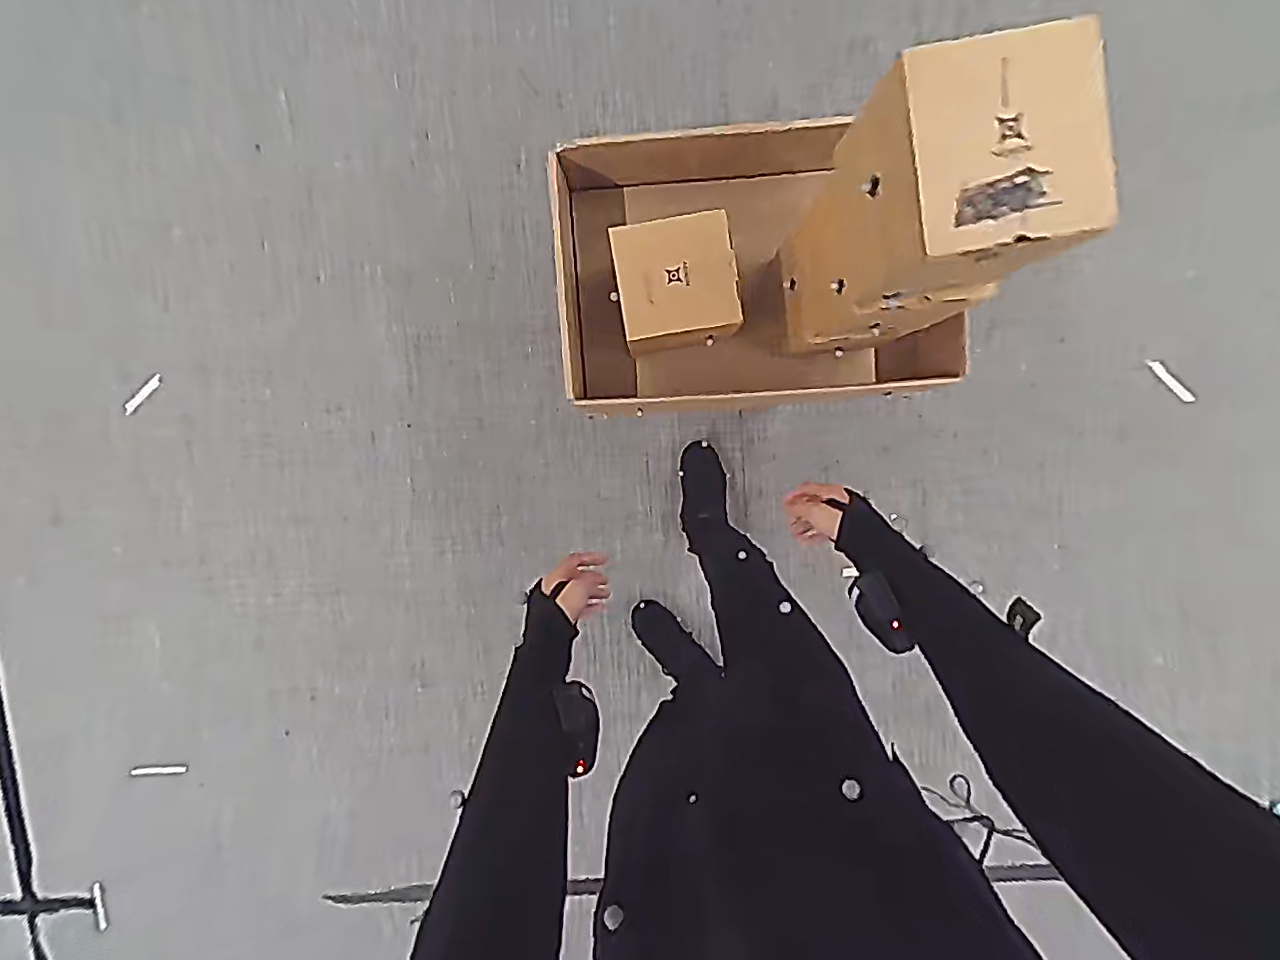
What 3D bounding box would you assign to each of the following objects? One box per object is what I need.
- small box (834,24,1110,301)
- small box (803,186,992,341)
[{"bbox_3d":[0.308,-0.287,0.536,0.168,0.176,0.179,-9,94,1],"label":"small box"},{"bbox_3d":[0.319,-0.289,0.700,0.168,0.176,0.179,-6,95,1],"label":"small box"}]
